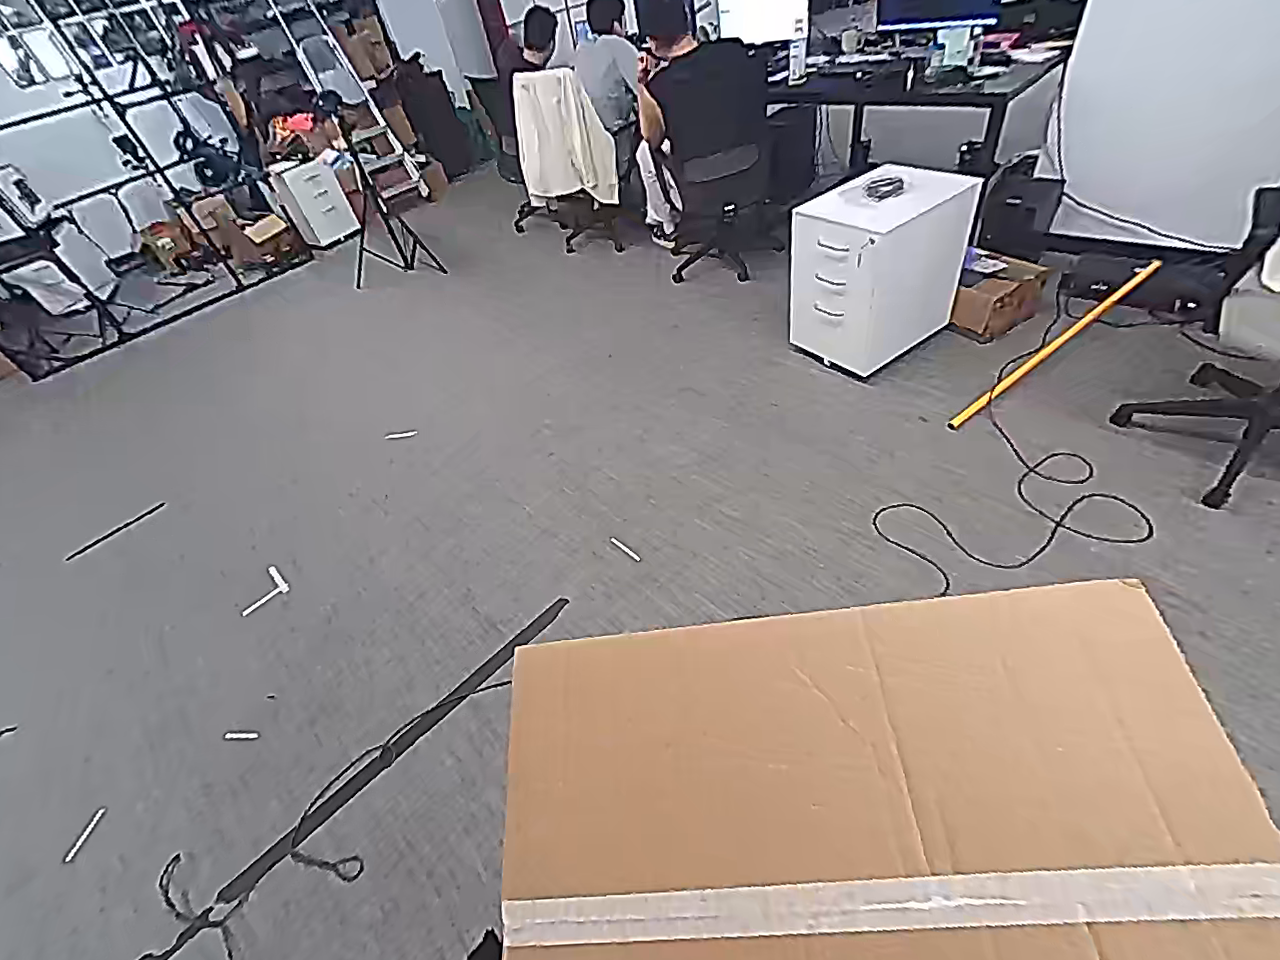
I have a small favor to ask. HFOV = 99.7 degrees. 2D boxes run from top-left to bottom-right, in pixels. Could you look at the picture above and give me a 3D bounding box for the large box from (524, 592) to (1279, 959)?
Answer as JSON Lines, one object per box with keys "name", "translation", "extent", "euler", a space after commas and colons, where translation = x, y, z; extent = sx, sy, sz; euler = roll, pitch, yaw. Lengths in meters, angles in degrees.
{"name": "large box", "translation": [0.152, 0.306, 0.426], "extent": [0.408, 0.320, 0.320], "euler": [-9, 61, 8]}
